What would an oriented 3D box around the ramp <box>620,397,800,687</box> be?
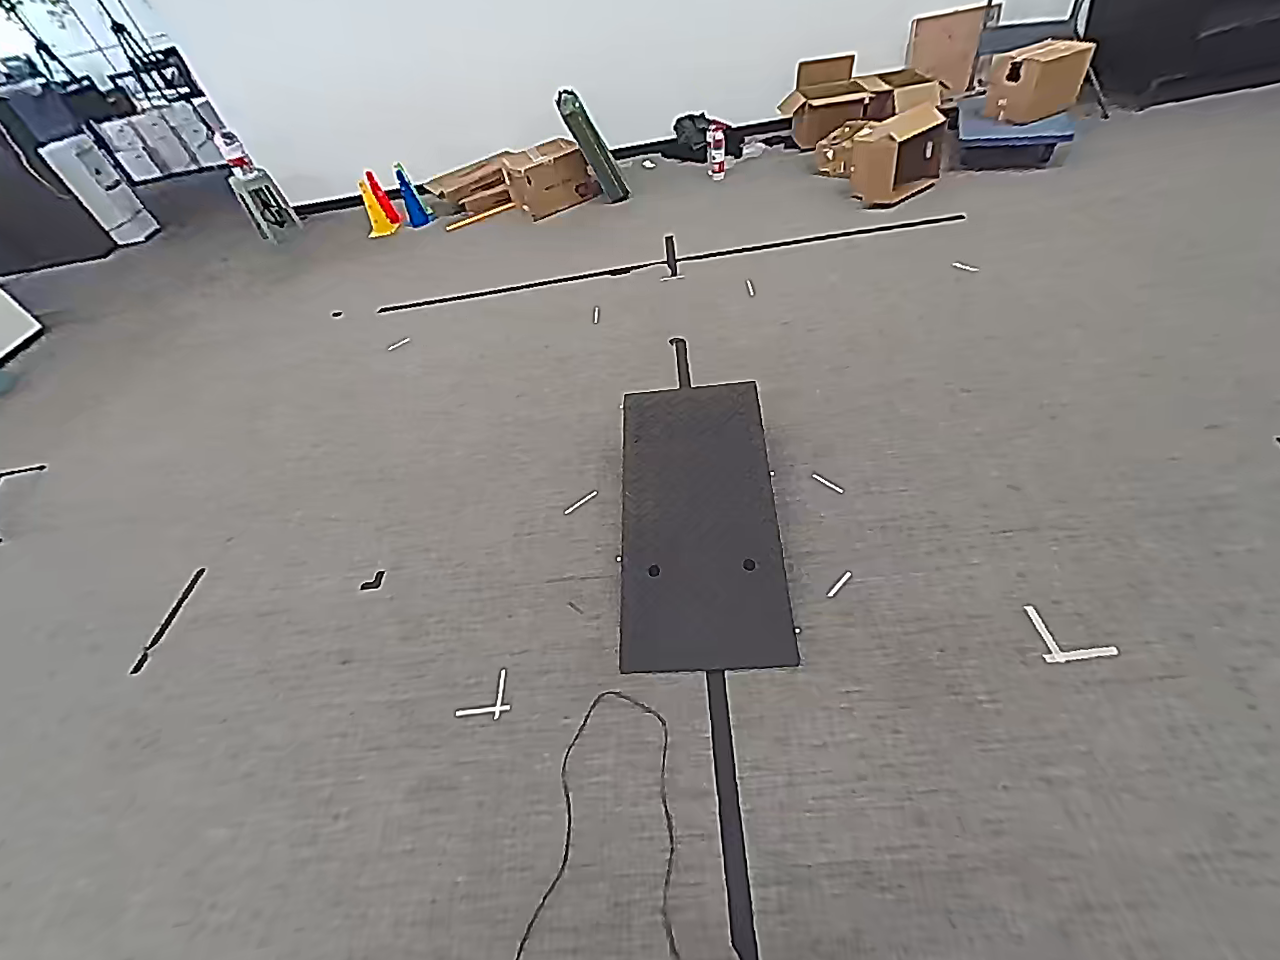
[{"bbox_3d":[0.183,0.136,1.752,0.509,0.206,0.991,-7,46,5],"label":"ramp"}]
